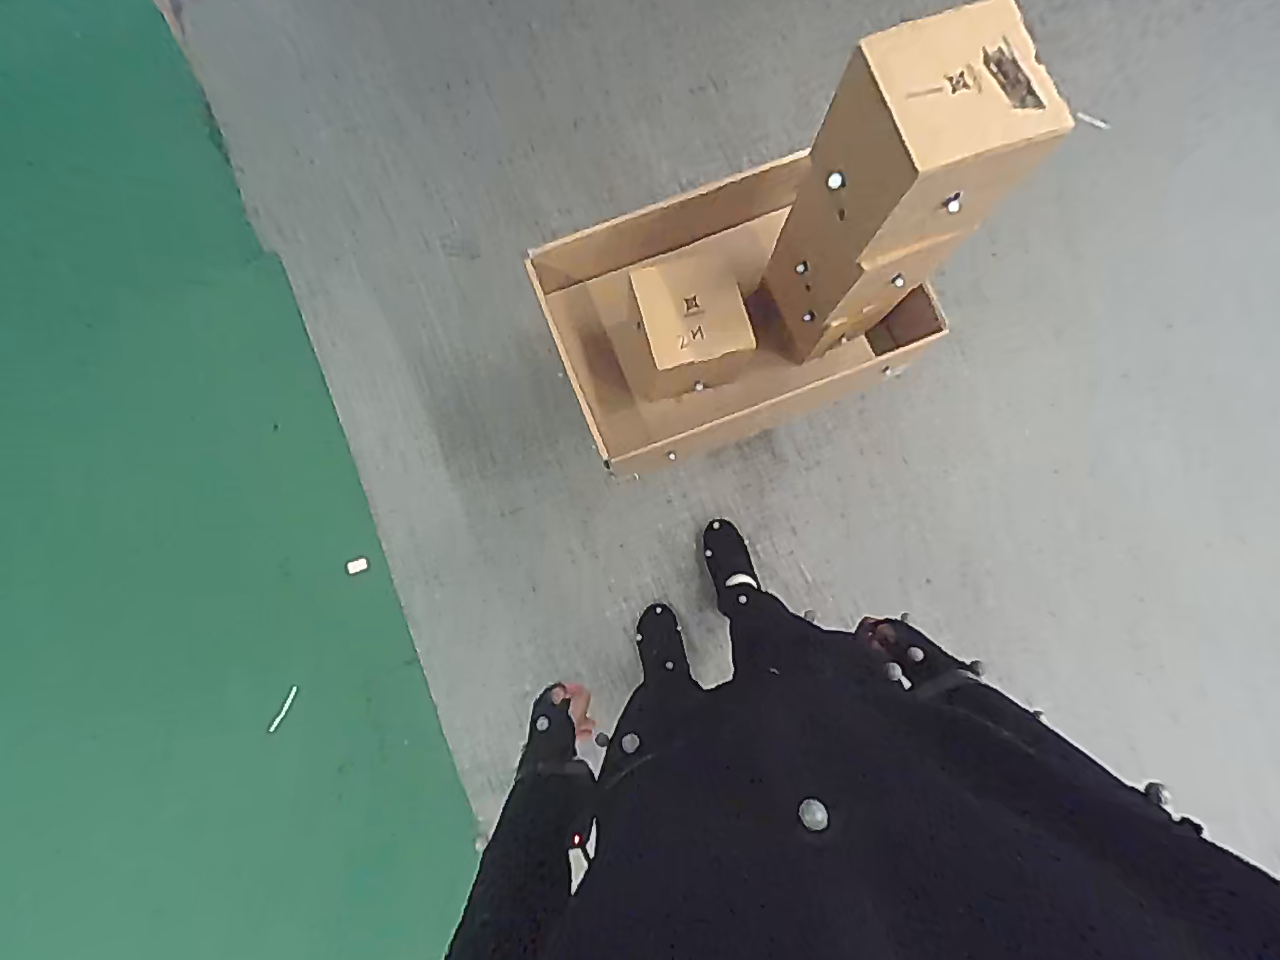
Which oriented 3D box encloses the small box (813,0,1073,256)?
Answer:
[{"bbox_3d":[0.329,-0.395,0.627,0.179,0.176,0.168,-18,82,-2],"label":"small box"}]
